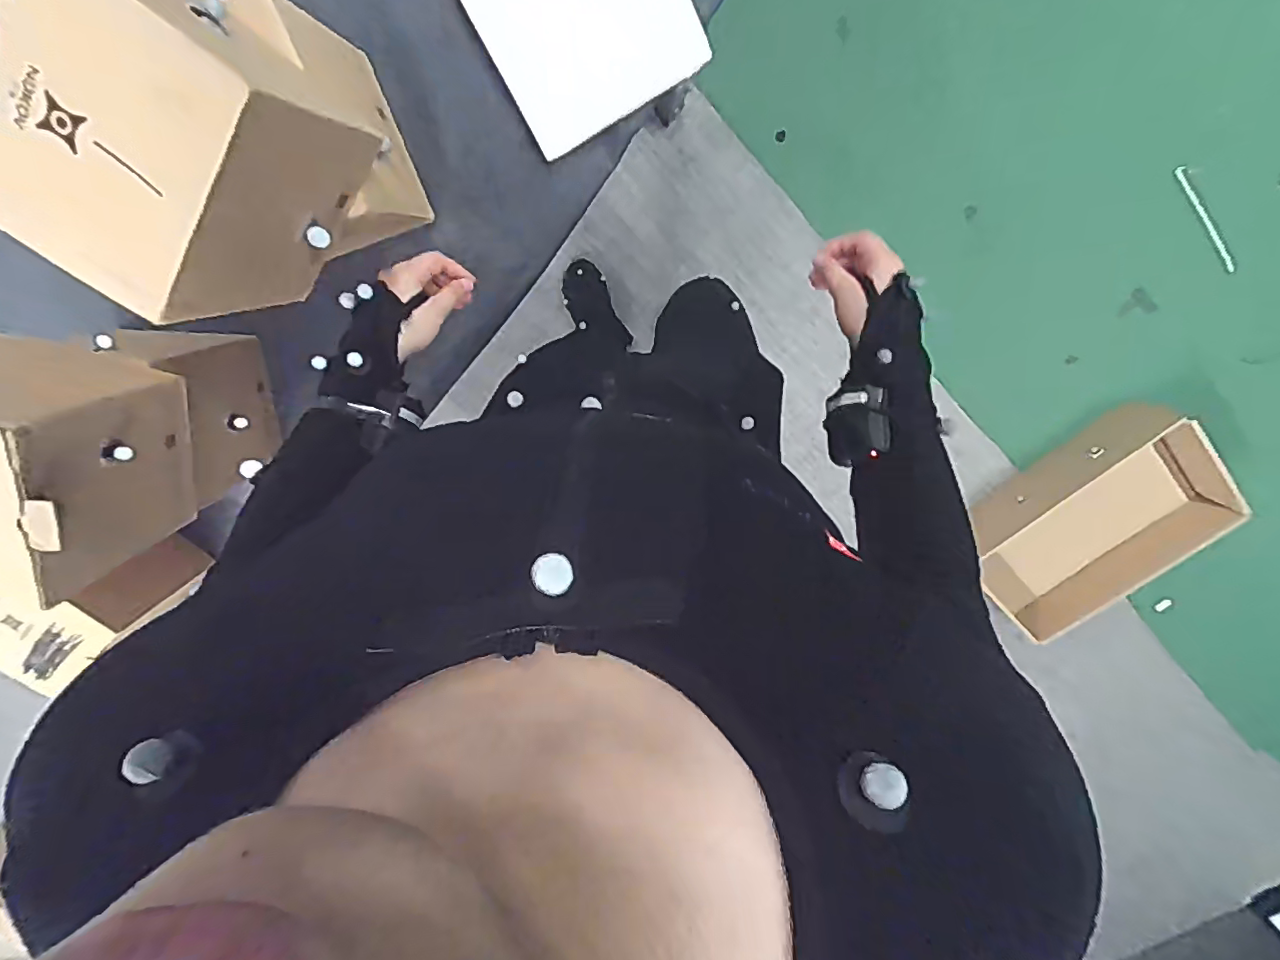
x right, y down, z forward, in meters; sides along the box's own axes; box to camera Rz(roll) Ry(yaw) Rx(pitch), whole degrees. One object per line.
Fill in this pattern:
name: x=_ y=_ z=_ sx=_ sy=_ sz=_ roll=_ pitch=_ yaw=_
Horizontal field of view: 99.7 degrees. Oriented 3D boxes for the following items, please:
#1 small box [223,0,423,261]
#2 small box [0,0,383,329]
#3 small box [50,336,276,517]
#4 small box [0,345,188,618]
small box: x=-0.336 y=-0.308 z=0.521 sx=0.179 sy=0.176 sz=0.168 roll=-16 pitch=113 yaw=8
small box: x=-0.323 y=-0.232 z=0.375 sx=0.179 sy=0.176 sz=0.168 roll=36 pitch=110 yaw=-15
small box: x=-0.560 y=-0.070 z=0.626 sx=0.179 sy=0.176 sz=0.168 roll=2 pitch=113 yaw=-1
small box: x=-0.542 y=-0.010 z=0.475 sx=0.179 sy=0.176 sz=0.168 roll=13 pitch=112 yaw=-5
